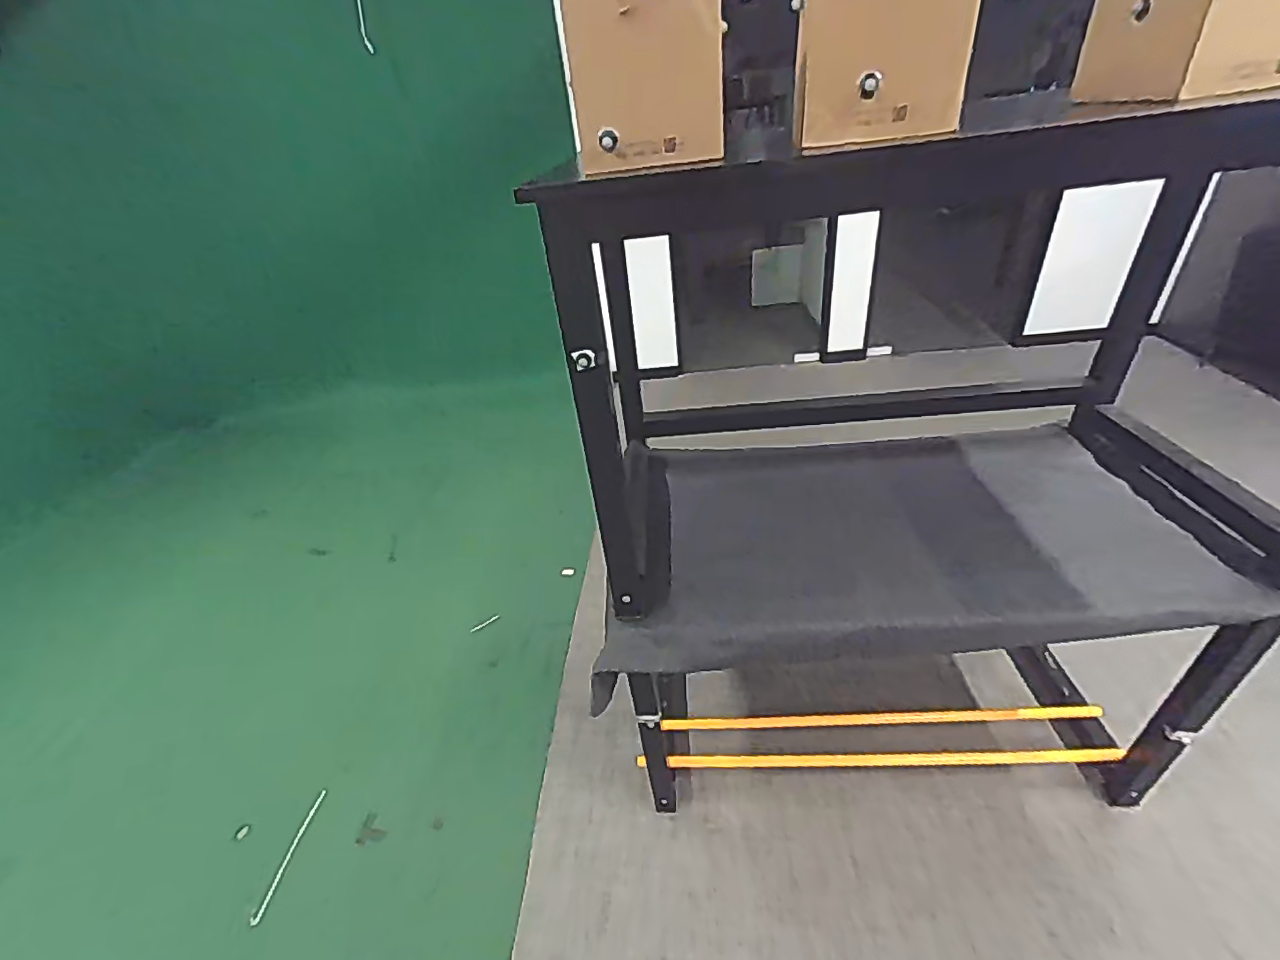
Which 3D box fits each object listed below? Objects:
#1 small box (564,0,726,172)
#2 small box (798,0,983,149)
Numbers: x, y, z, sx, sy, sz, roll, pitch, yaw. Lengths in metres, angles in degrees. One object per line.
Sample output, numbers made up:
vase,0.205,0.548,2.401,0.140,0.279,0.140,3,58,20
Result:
small box,0.015,-0.481,0.658,0.168,0.176,0.179,-4,33,5
small box,0.278,-0.496,0.635,0.168,0.176,0.179,1,35,12
